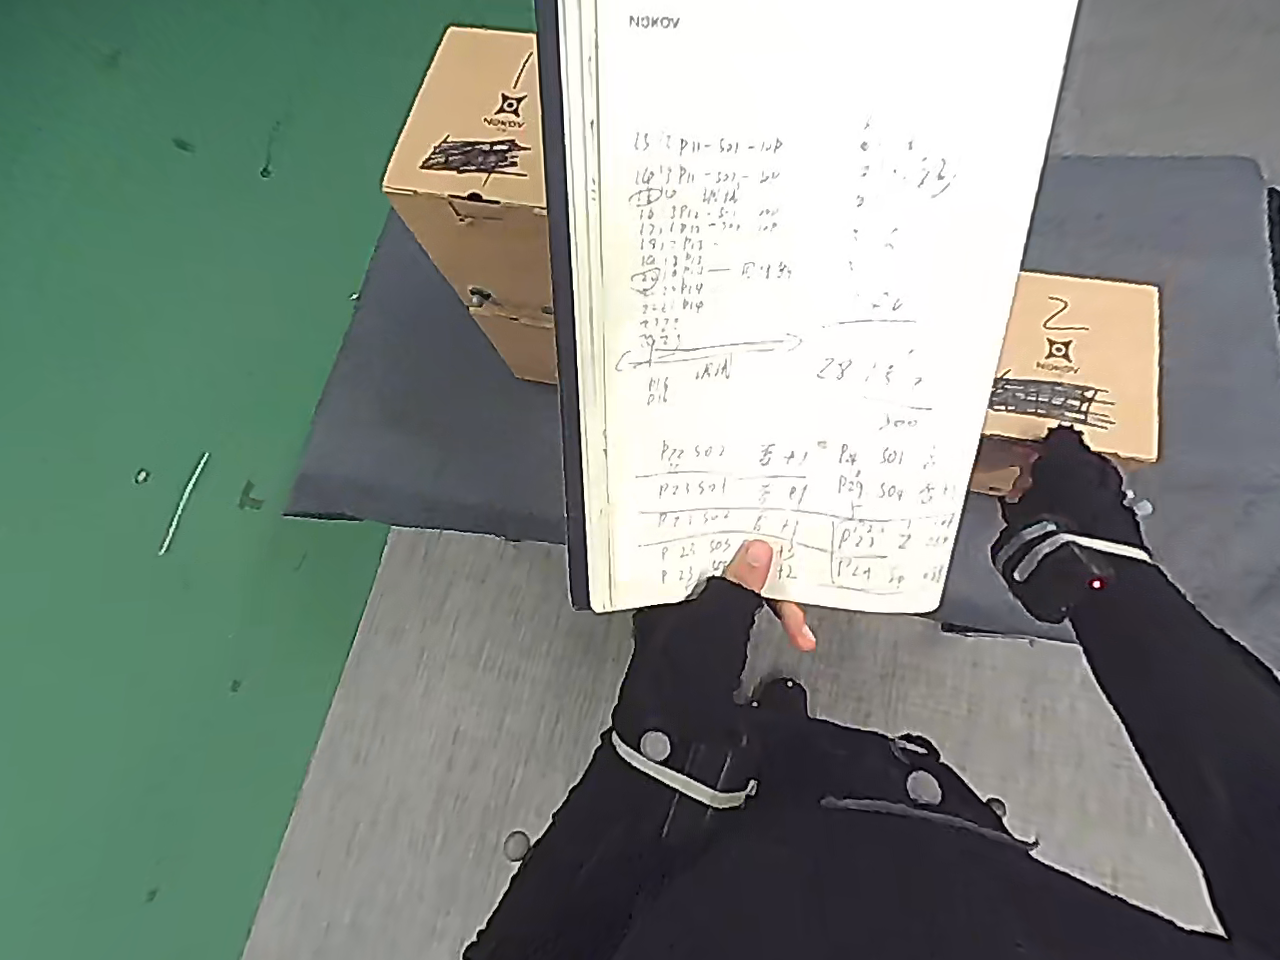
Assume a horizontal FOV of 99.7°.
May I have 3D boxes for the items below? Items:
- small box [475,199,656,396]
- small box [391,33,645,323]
[{"bbox_3d":[-0.077,-0.229,0.678,0.168,0.176,0.179,11,76,10],"label":"small box"},{"bbox_3d":[-0.096,-0.277,0.522,0.168,0.176,0.179,12,75,9],"label":"small box"}]
